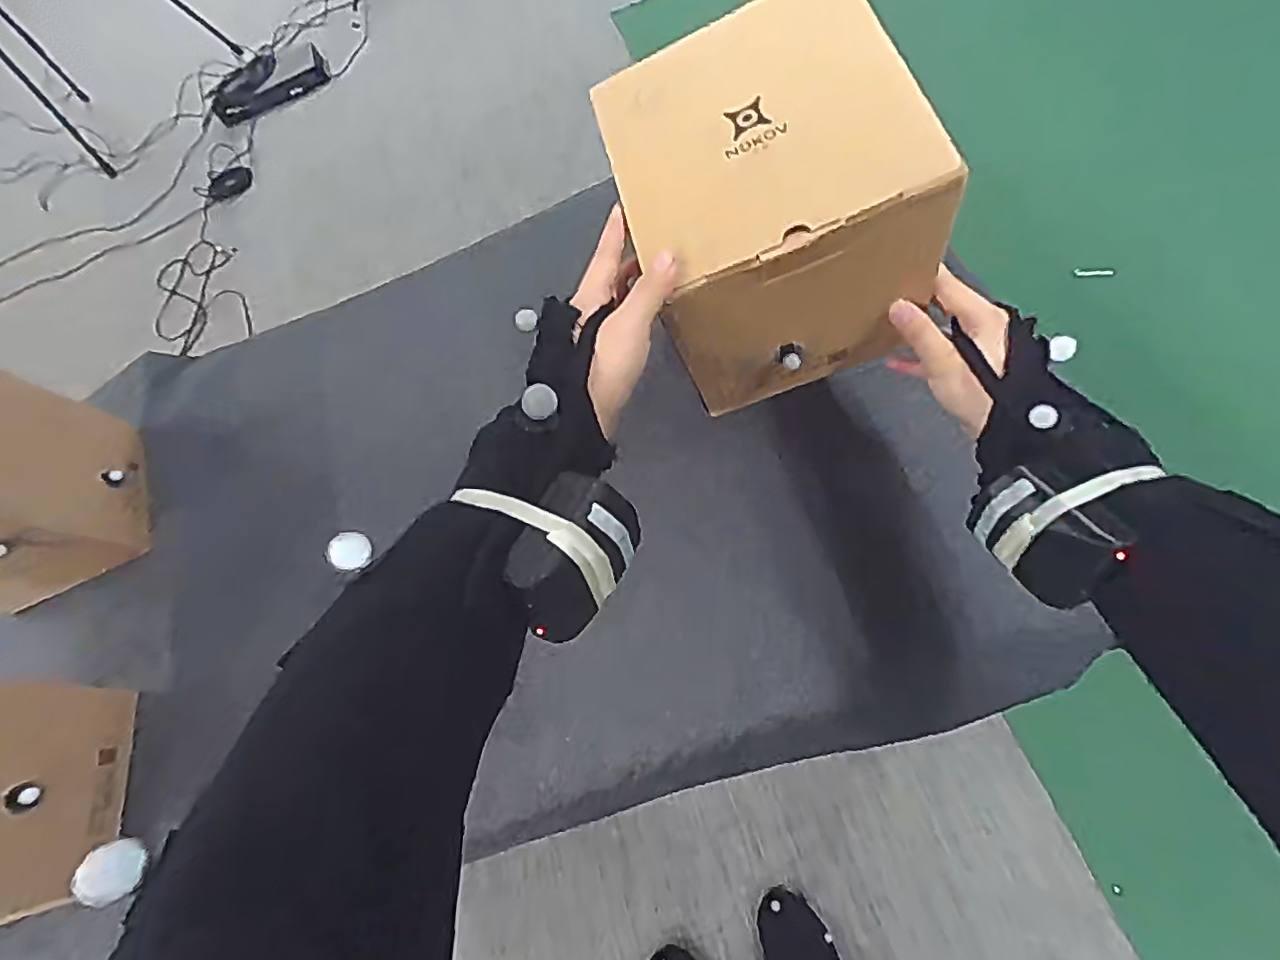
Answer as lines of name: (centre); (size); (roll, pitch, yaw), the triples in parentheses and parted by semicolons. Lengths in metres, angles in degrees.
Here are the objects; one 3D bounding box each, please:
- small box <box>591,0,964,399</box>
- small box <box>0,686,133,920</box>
small box: (0.086, -0.185, 0.378); (0.168, 0.176, 0.179); (-19, 71, 13)
small box: (-0.563, 0.267, 0.426); (0.179, 0.176, 0.168); (-20, 64, 4)
